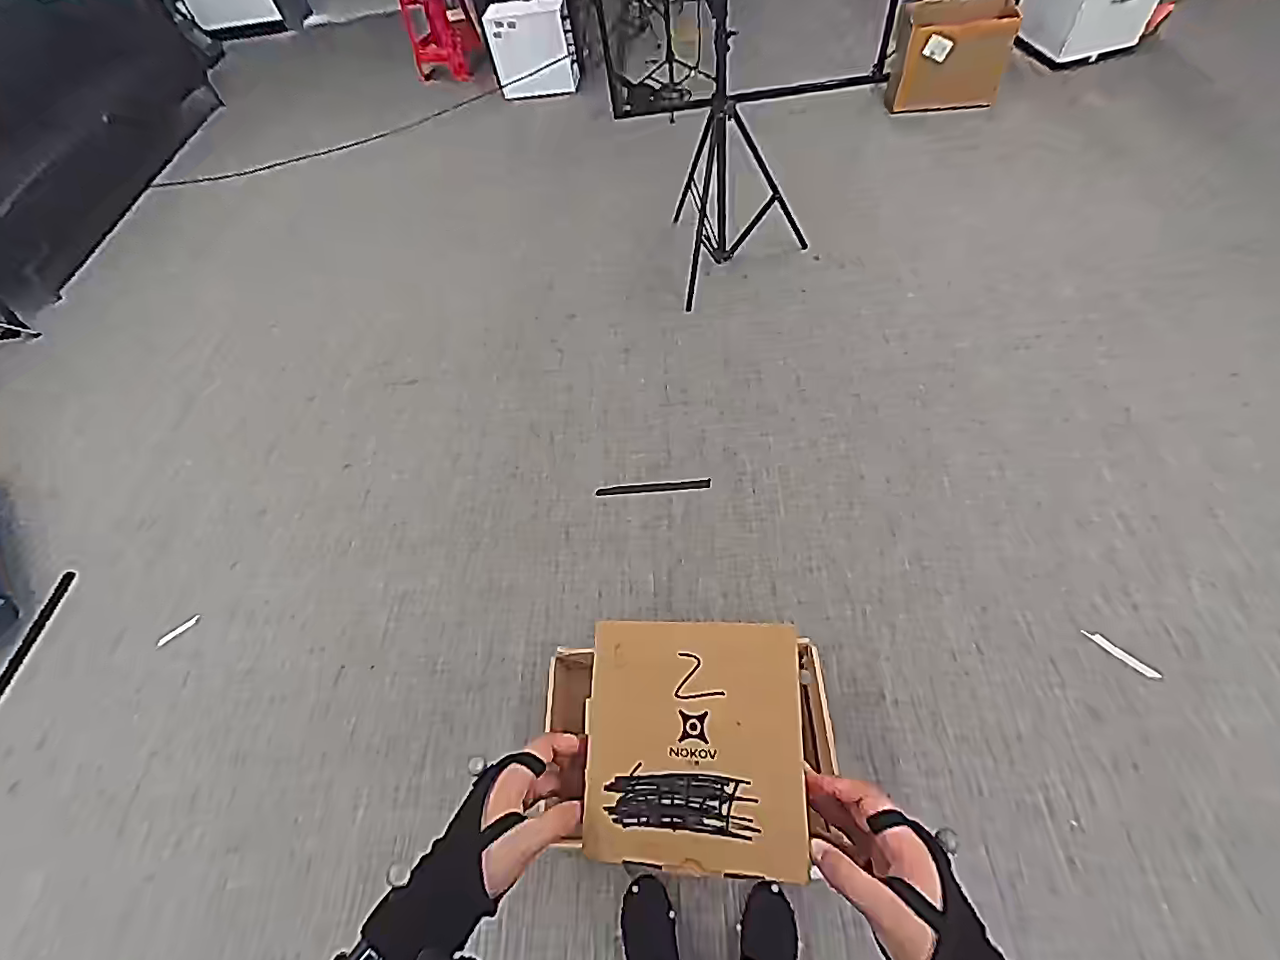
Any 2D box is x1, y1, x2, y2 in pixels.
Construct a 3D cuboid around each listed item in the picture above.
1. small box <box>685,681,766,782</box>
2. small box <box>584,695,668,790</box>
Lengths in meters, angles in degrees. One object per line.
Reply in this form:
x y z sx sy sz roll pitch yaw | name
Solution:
0.189 0.561 1.202 0.168 0.176 0.179 0 58 9 | small box
-0.027 0.592 1.212 0.168 0.176 0.179 -5 57 4 | small box
